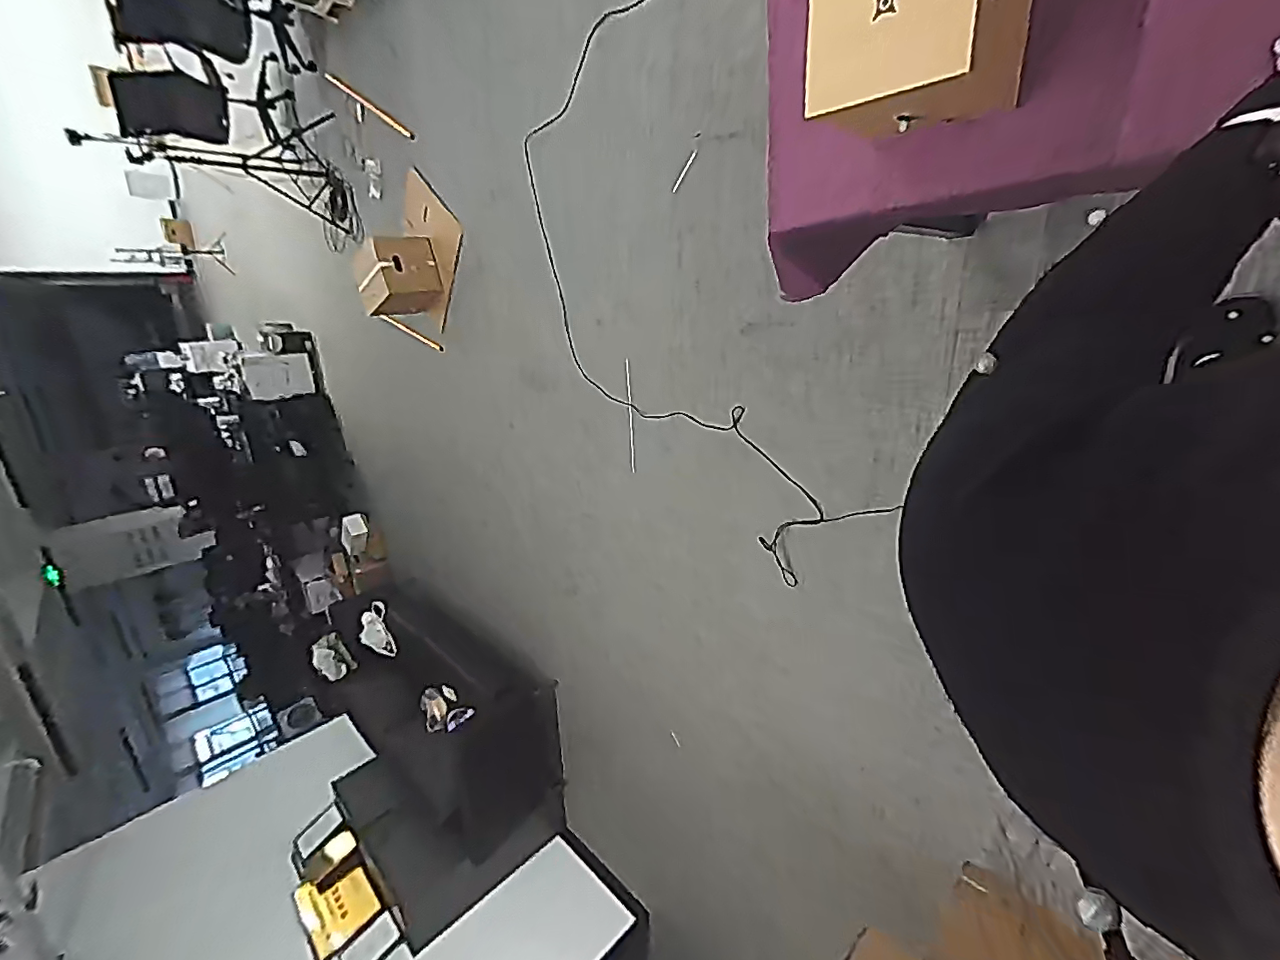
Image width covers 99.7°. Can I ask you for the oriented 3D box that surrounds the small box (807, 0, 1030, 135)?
[{"bbox_3d":[0.296,-0.485,0.572,0.168,0.176,0.179,16,116,43],"label":"small box"}]
